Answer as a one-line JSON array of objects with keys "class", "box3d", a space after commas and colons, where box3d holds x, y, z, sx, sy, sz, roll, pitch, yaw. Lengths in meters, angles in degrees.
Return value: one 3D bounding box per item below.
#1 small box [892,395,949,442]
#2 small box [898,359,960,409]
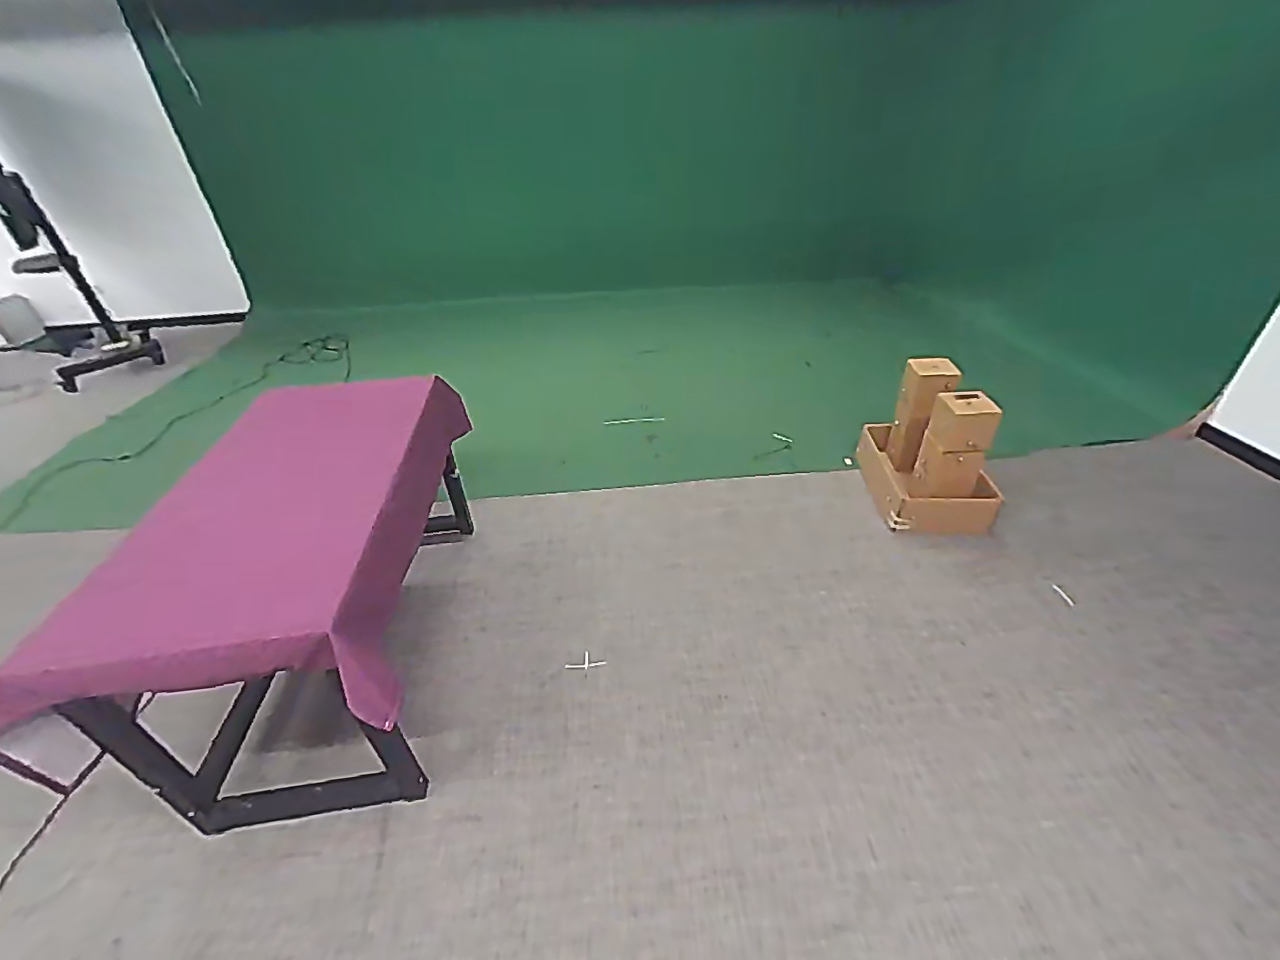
[{"class": "small box", "box3d": [1.280, -0.286, 2.478, 0.179, 0.176, 0.168, 1, 36, 8]}, {"class": "small box", "box3d": [1.269, -0.421, 2.385, 0.179, 0.176, 0.168, 0, 36, 6]}]
